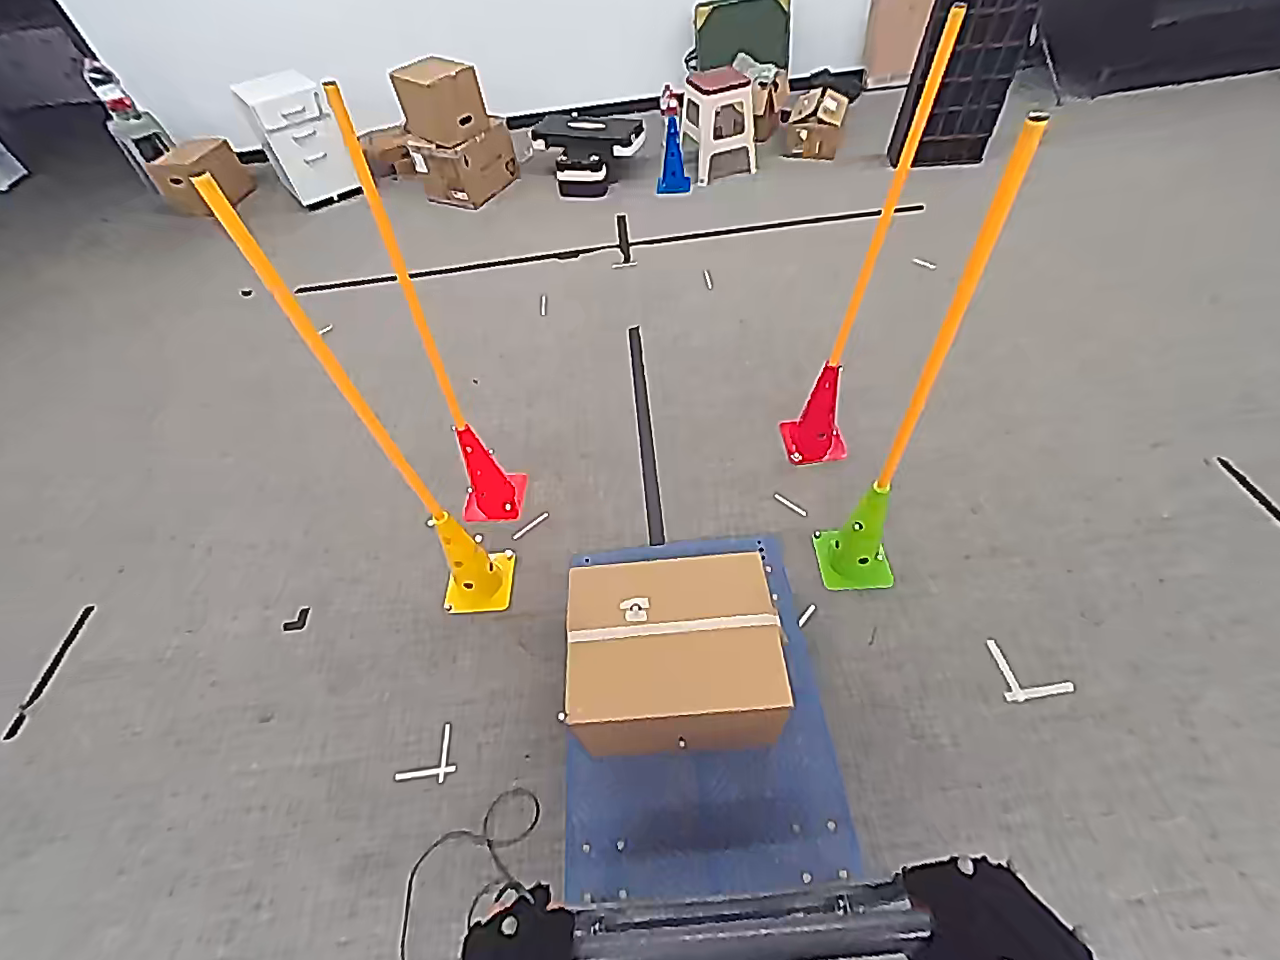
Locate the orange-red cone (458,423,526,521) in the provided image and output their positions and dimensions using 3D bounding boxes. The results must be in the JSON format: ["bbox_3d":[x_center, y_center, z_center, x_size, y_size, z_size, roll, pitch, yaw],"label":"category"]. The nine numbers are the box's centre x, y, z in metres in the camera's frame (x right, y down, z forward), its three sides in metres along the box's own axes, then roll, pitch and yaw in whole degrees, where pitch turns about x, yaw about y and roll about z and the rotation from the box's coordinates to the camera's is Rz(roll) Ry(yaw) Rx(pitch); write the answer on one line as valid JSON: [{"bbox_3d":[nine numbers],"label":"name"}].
[{"bbox_3d":[-0.517,-0.048,1.755,0.198,0.360,0.199,0,50,5],"label":"orange-red cone"}]

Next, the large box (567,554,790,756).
[{"bbox_3d":[0.073,0.385,1.162,0.408,0.320,0.320,-6,52,2],"label":"large box"}]

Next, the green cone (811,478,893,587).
[{"bbox_3d":[0.620,0.124,1.494,0.202,0.368,0.200,-3,51,2],"label":"green cone"}]

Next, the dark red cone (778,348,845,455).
[{"bbox_3d":[0.596,-0.265,1.783,0.201,0.394,0.202,-6,52,-1],"label":"dark red cone"}]
